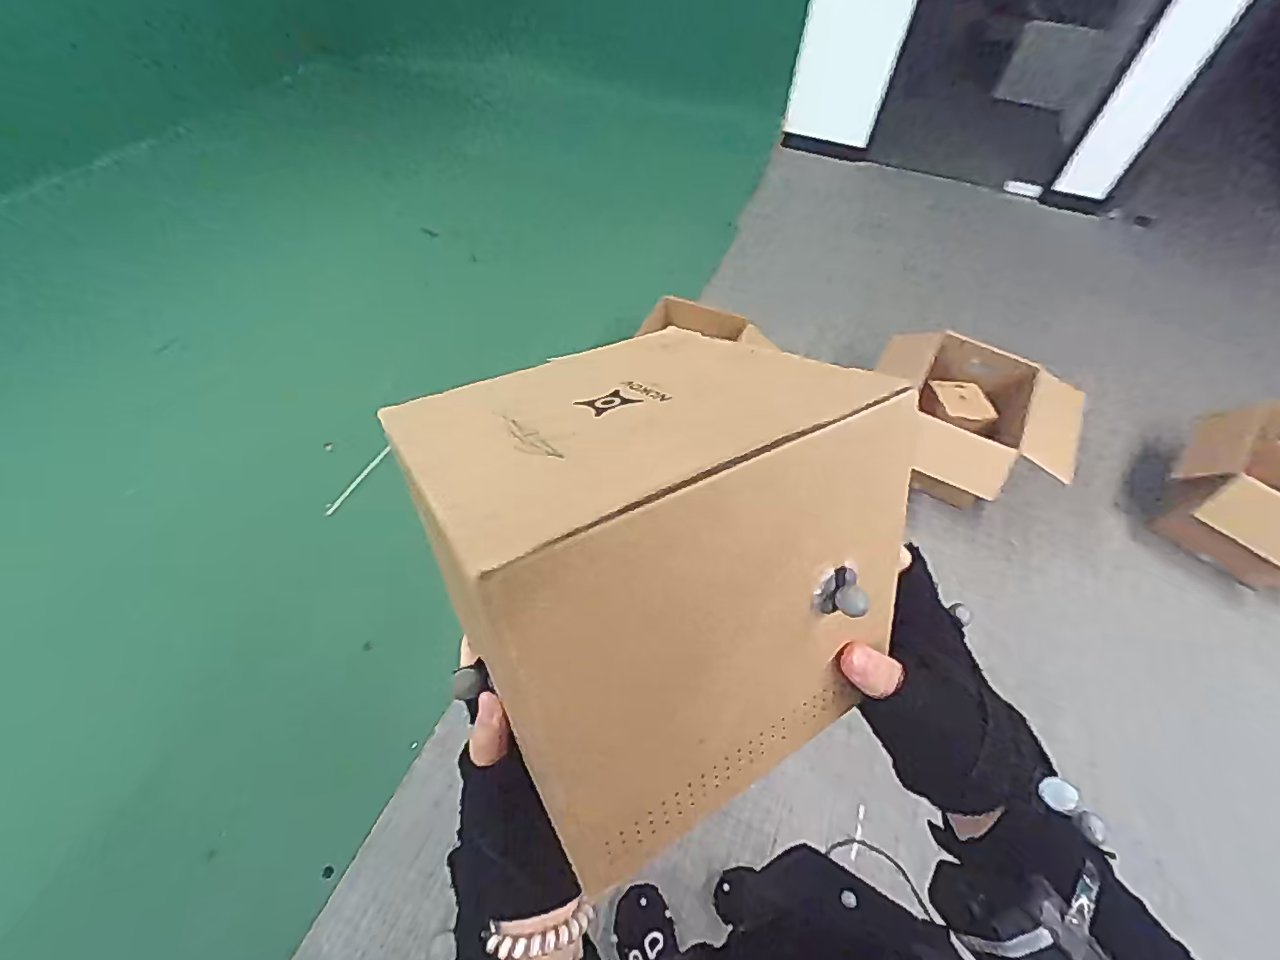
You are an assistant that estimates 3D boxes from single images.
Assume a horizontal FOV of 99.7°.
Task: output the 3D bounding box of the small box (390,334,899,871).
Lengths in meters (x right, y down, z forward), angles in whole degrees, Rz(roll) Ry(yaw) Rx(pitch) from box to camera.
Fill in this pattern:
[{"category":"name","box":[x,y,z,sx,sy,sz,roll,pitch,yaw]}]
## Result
[{"category":"small box","box":[-0.002,0.039,0.277,0.179,0.176,0.168,-22,31,-22]}]
